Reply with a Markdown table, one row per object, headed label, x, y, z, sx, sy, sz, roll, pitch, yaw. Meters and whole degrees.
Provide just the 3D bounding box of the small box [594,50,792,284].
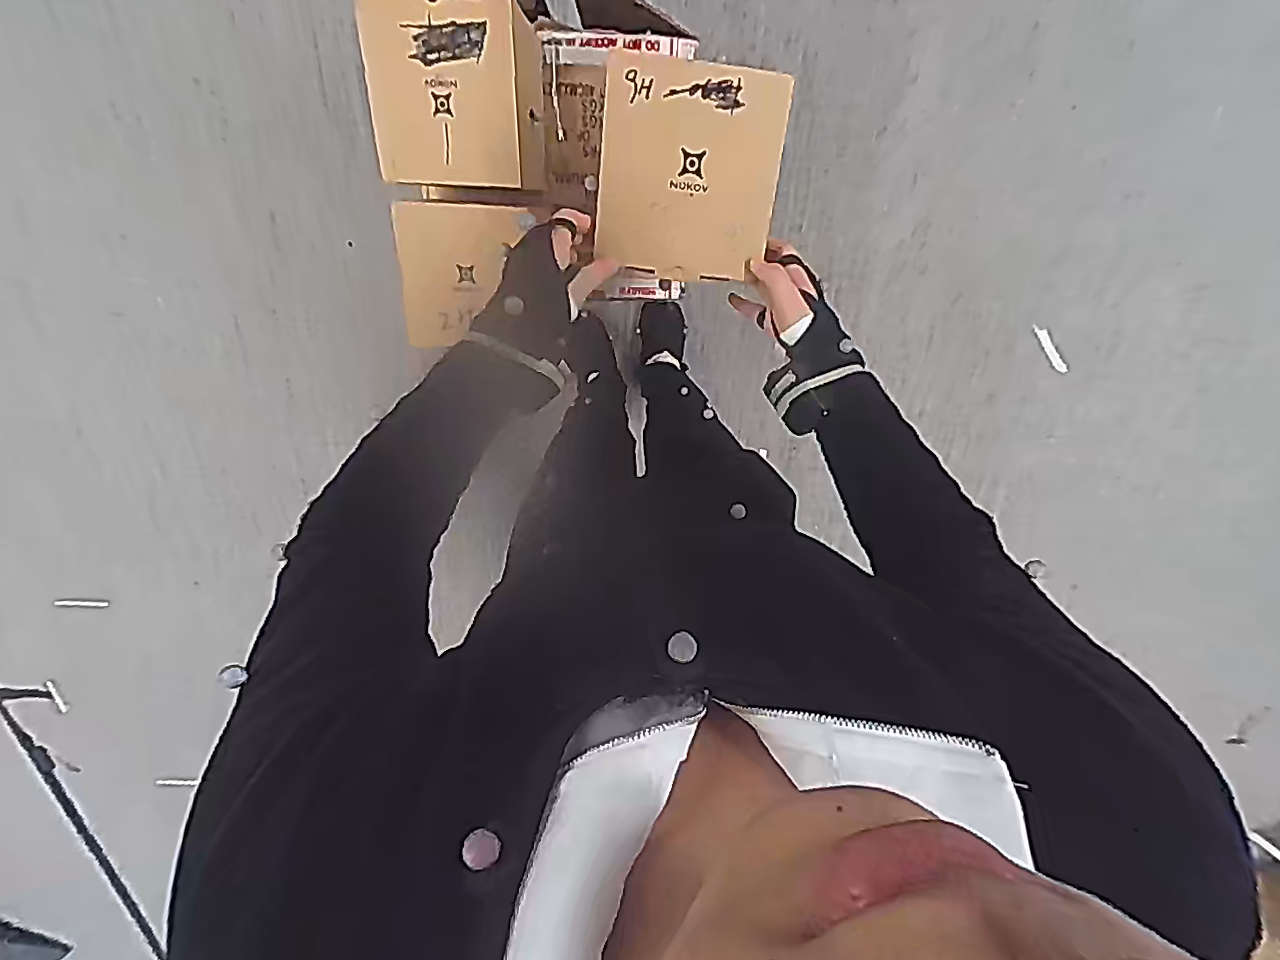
| label | x | y | z | sx | sy | sz | roll | pitch | yaw |
| --- | --- | --- | --- | --- | --- | --- | --- | --- | --- |
| small box | 0.042 | -0.312 | 0.574 | 0.168 | 0.176 | 0.179 | 4 | 111 | -5 |
